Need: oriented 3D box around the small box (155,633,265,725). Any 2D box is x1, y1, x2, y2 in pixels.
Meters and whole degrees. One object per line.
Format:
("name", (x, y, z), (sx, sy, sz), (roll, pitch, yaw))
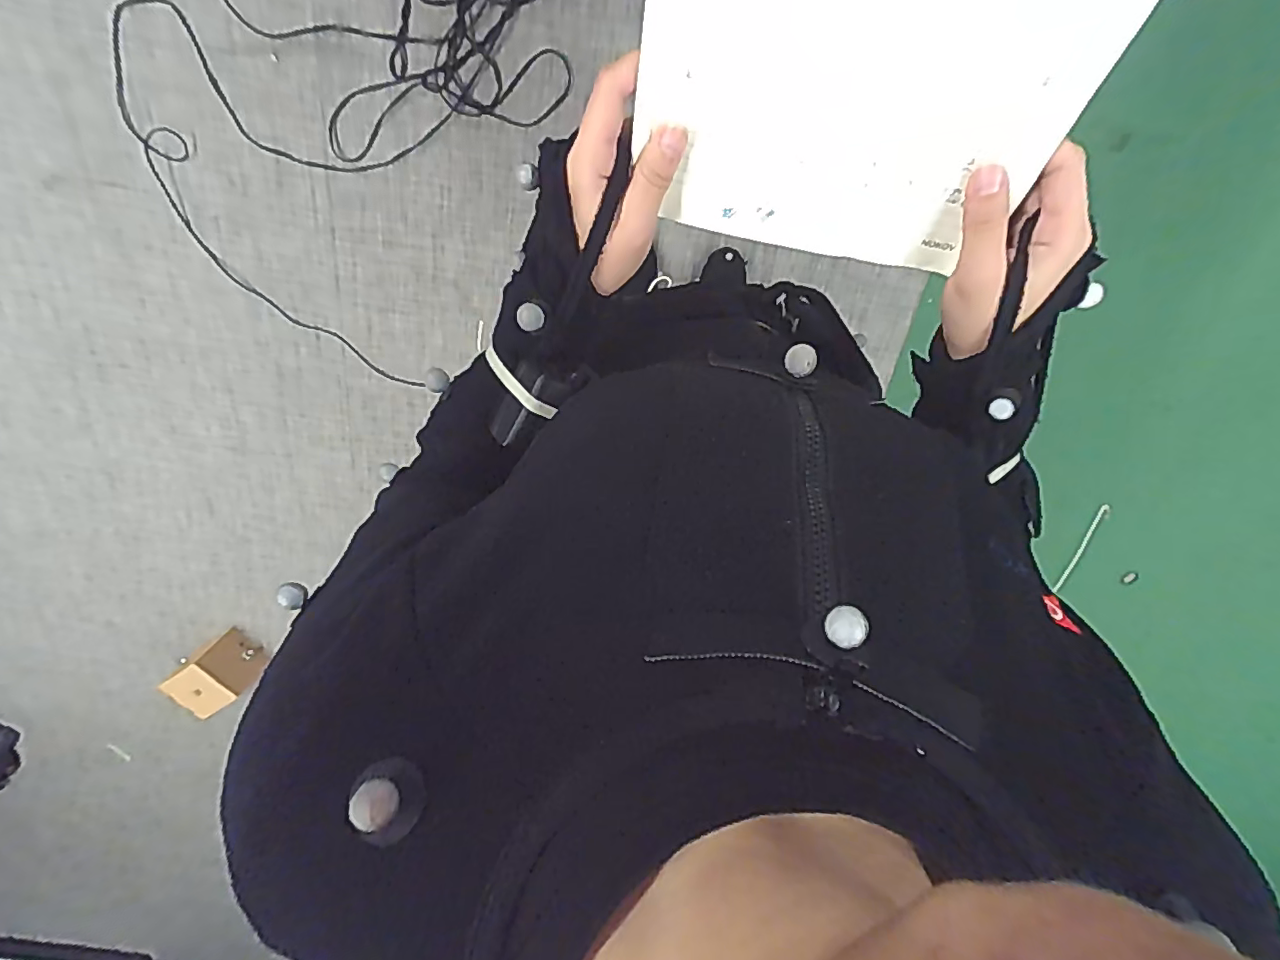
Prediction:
("small box", (-1.320, 0.611, 1.675), (0.179, 0.176, 0.168), (-32, 111, 15))
